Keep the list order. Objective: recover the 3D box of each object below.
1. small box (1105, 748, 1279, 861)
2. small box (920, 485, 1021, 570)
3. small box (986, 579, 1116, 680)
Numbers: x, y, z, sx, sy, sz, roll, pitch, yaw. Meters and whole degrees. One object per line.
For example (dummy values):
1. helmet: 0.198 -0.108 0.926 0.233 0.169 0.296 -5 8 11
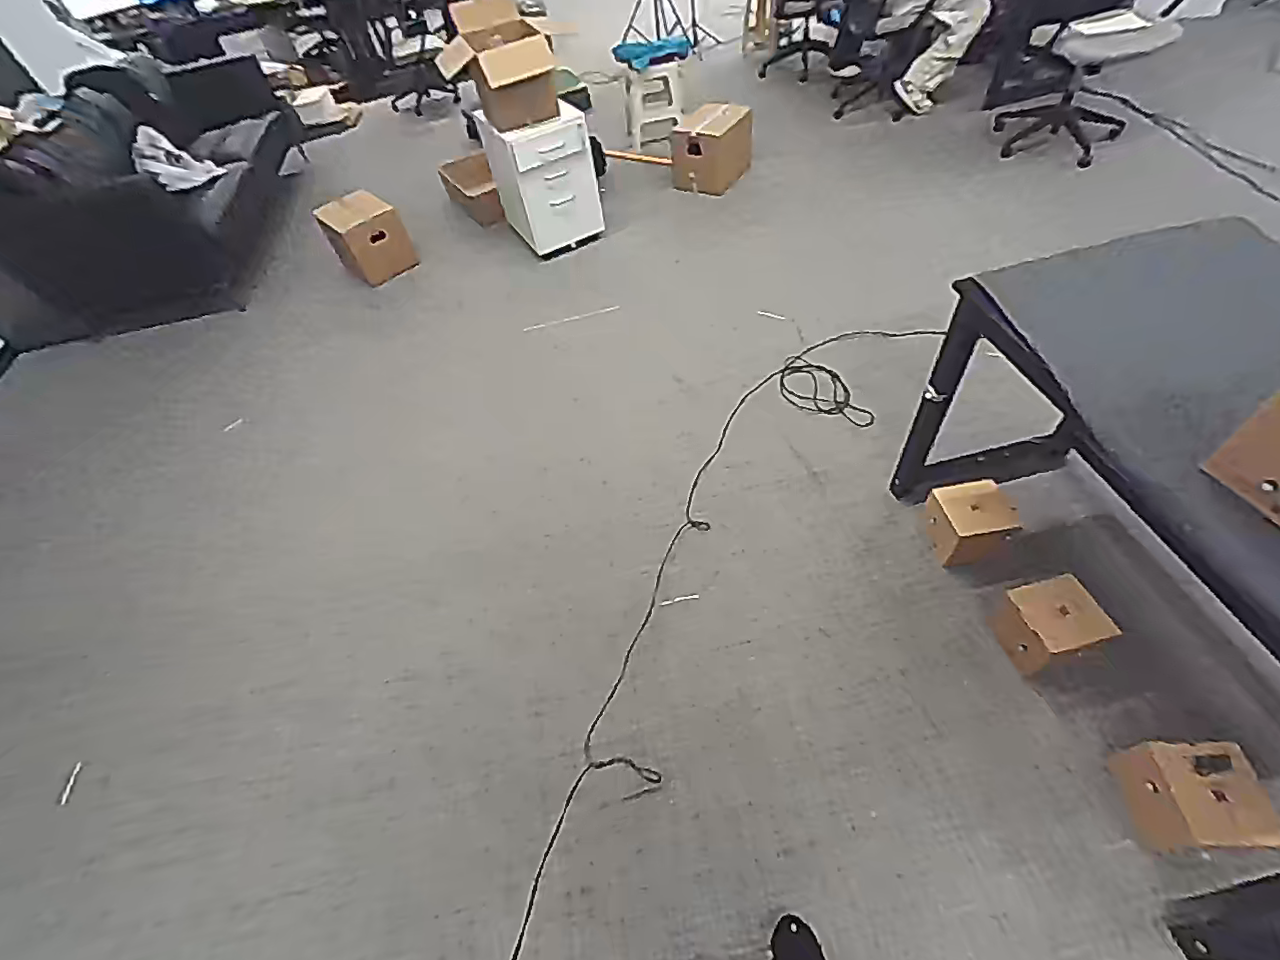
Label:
1. small box: 1.102 0.656 1.091 0.168 0.176 0.179 -3 52 7
2. small box: 0.924 0.139 1.540 0.179 0.176 0.168 -9 50 1
3. small box: 0.996 0.374 1.337 0.179 0.176 0.168 -14 51 -4
